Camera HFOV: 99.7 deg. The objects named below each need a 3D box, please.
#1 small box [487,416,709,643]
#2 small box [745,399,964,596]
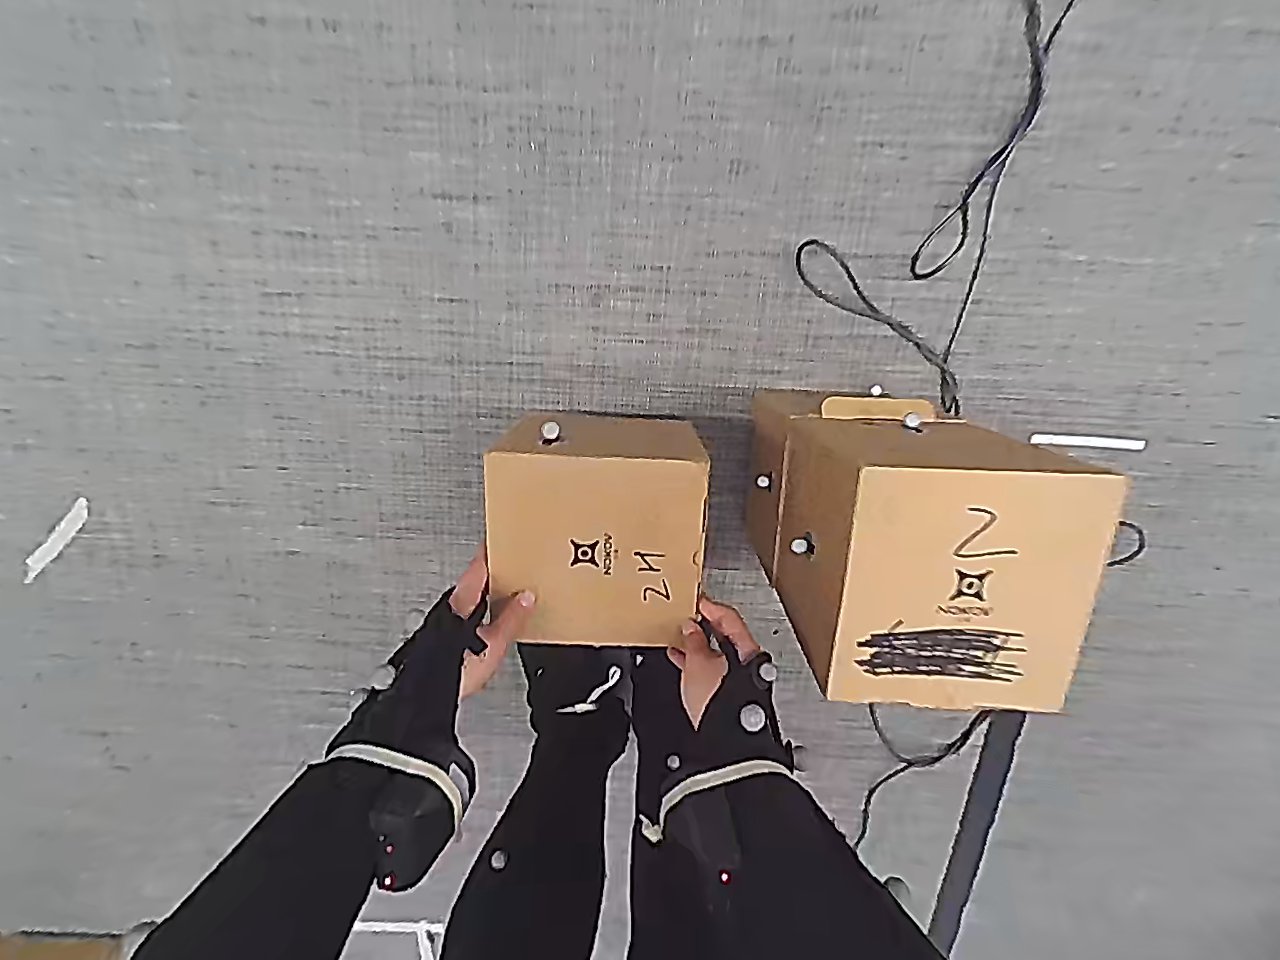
[{"bbox_3d":[-0.037,0.035,0.518,0.179,0.176,0.168,2,107,-2],"label":"small box"},{"bbox_3d":[0.213,0.008,0.590,0.168,0.176,0.179,1,107,1],"label":"small box"}]
